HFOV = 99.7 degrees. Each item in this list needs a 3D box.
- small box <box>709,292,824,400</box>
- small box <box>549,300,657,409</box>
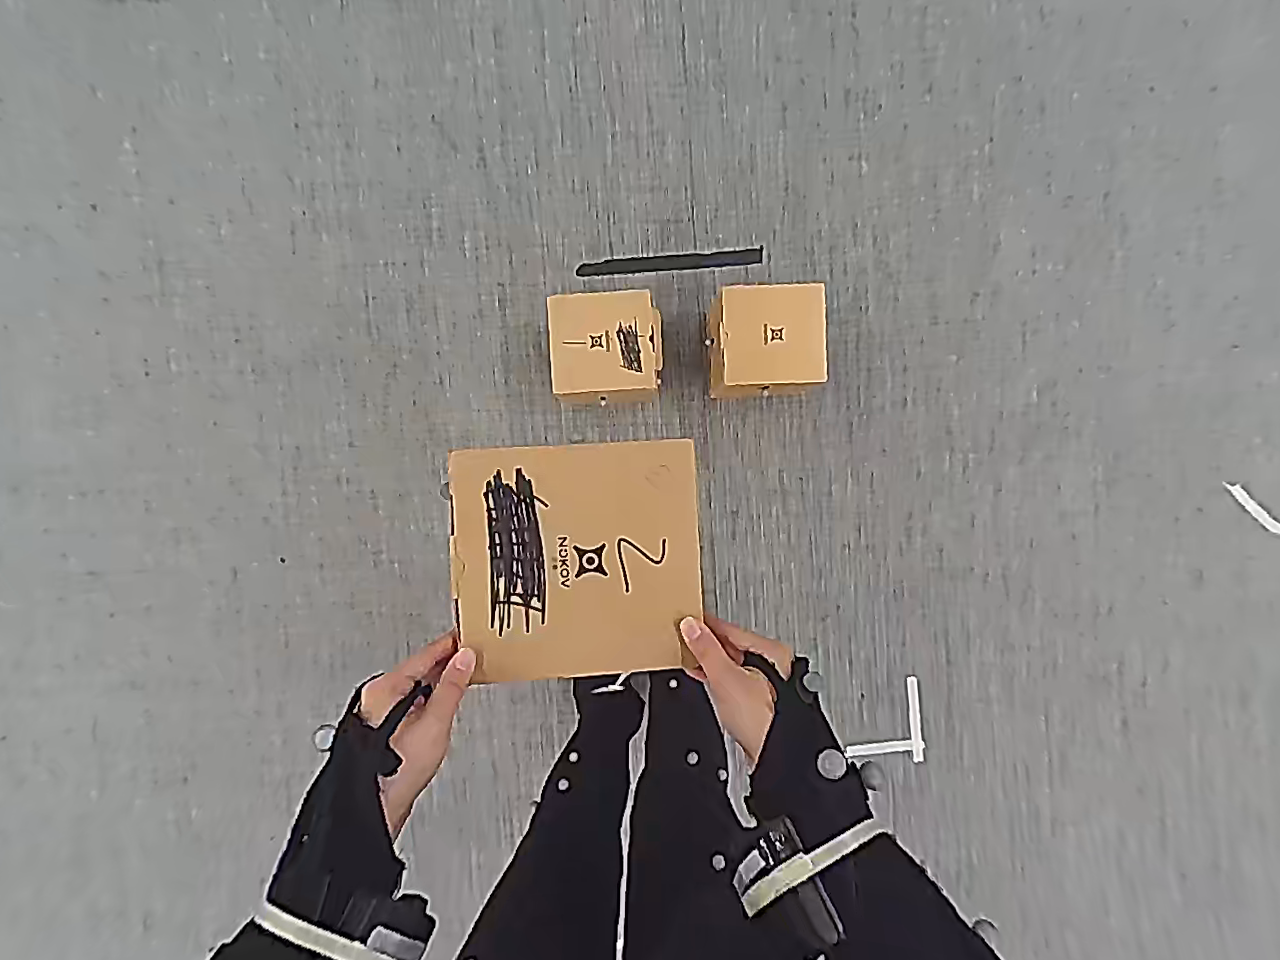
[{"bbox_3d":[0.223,-0.238,0.988,0.179,0.176,0.168,-1,93,2],"label":"small box"},{"bbox_3d":[-0.062,-0.220,0.985,0.179,0.176,0.168,-3,92,1],"label":"small box"}]
